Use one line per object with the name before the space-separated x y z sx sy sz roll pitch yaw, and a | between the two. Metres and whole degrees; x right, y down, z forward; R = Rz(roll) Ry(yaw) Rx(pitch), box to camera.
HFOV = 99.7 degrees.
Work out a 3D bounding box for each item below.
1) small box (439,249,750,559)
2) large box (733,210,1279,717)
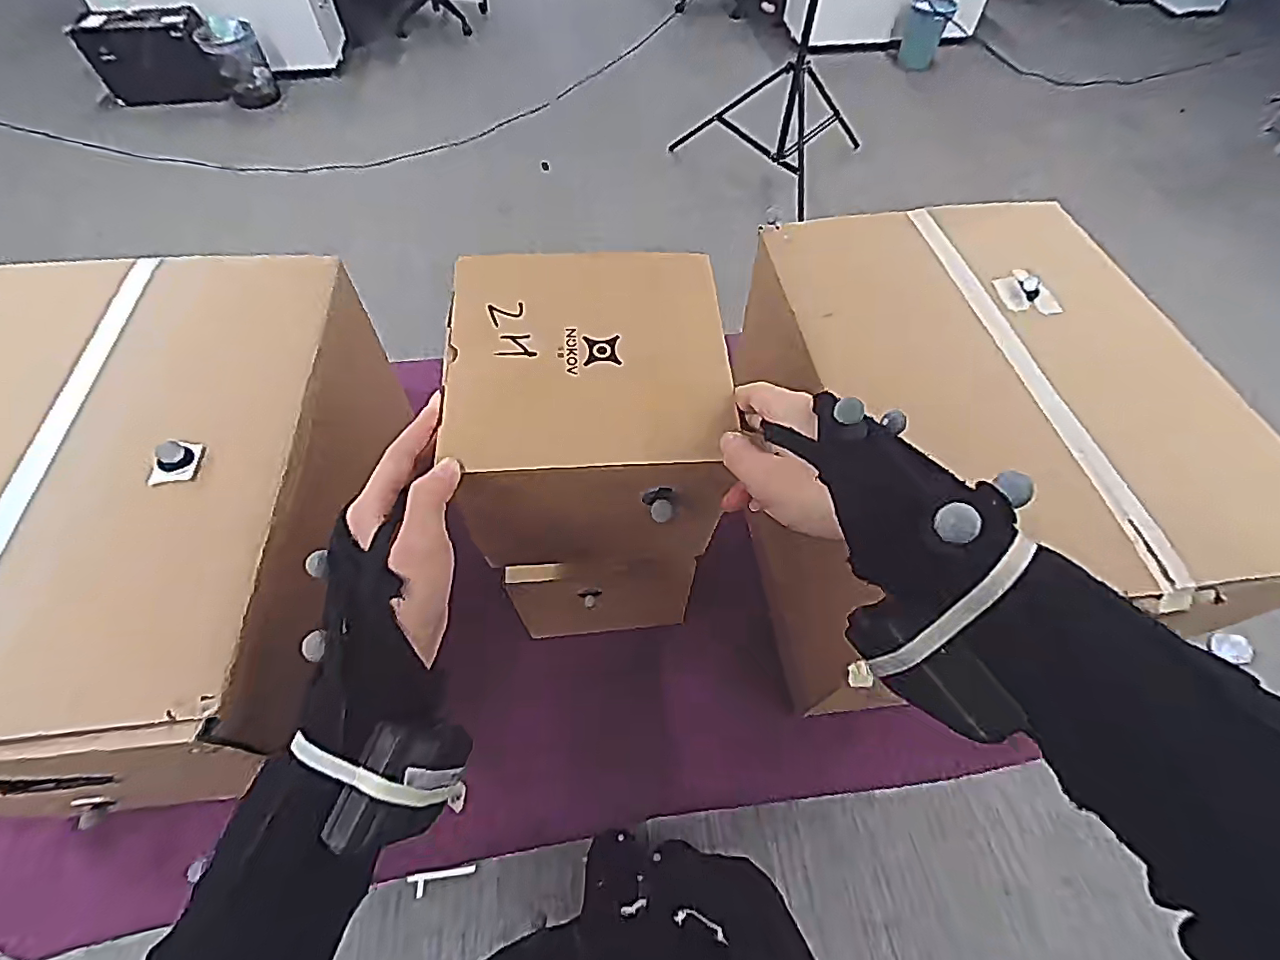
small box | -0.032 -0.047 0.406 0.179 0.176 0.168 -3 63 -4
large box | 0.289 -0.014 0.562 0.320 0.320 0.408 -6 56 -5
